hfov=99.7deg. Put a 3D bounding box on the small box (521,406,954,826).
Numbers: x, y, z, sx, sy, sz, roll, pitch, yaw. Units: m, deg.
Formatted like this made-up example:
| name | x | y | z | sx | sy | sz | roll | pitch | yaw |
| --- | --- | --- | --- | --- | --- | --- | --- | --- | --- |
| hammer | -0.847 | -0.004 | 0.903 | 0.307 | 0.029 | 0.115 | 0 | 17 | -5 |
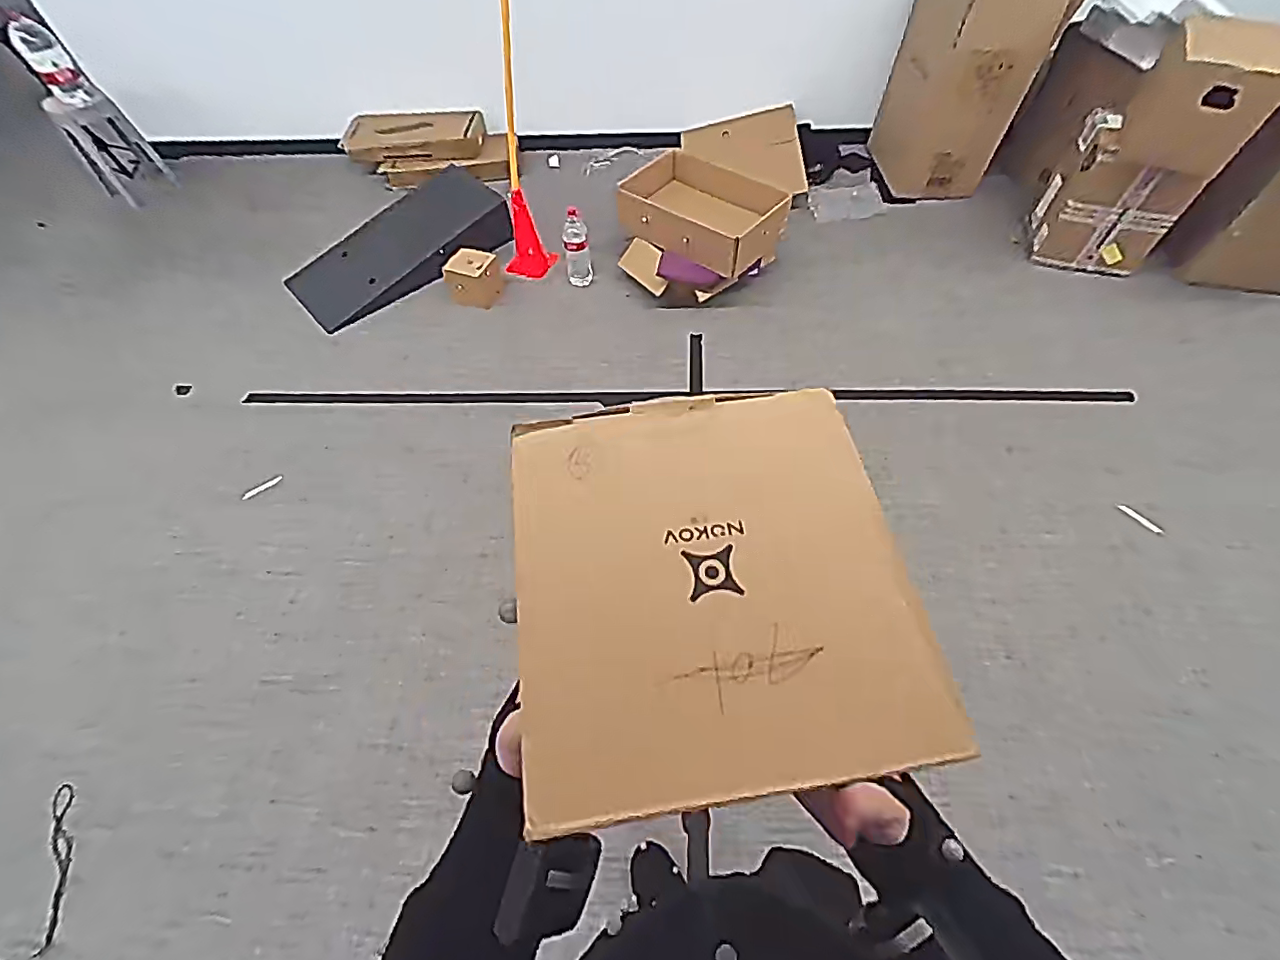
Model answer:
| name | x | y | z | sx | sy | sz | roll | pitch | yaw |
| --- | --- | --- | --- | --- | --- | --- | --- | --- | --- |
| small box | 0.029 | 0.083 | 0.312 | 0.168 | 0.176 | 0.179 | -7 | 61 | -4 |
